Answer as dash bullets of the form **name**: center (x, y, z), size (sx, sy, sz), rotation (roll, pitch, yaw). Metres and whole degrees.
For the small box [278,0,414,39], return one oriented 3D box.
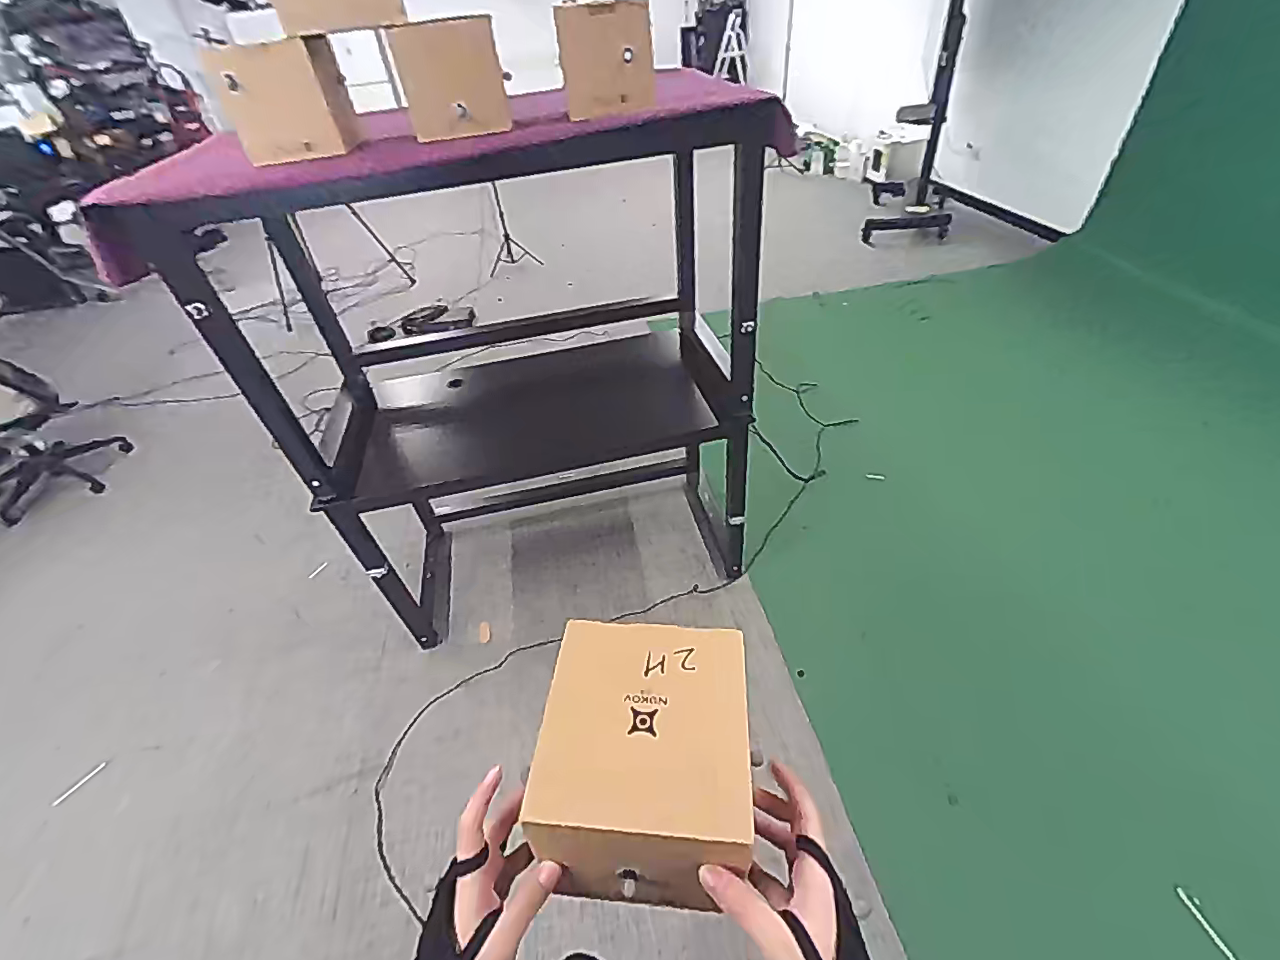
- **small box**: center (-0.495, -0.833, 0.879), size (0.179, 0.176, 0.168), rotation (-10, 41, -4)

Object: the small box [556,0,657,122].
- **small box**: center (-0.063, -0.793, 1.023), size (0.168, 0.176, 0.179), rotation (-9, 42, -2)

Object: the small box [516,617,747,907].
- **small box**: center (0.006, 0.248, 0.483), size (0.168, 0.176, 0.179), rotation (2, 38, 6)
